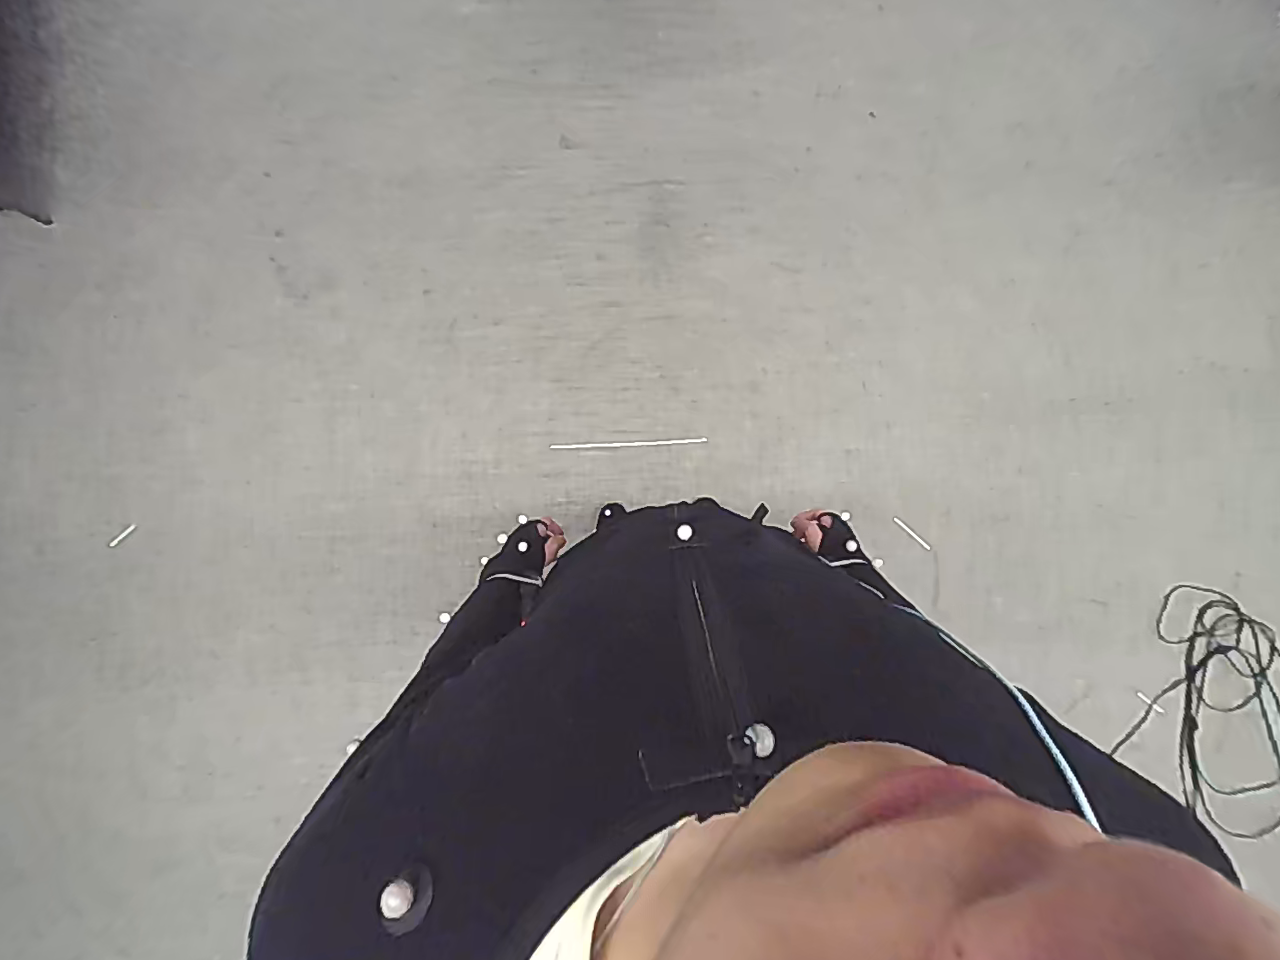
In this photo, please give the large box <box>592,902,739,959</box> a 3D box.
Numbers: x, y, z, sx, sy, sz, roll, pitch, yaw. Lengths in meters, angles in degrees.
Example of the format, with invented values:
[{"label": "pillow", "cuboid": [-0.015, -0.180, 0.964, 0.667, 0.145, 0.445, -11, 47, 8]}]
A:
[{"label": "large box", "cuboid": [0.089, 1.432, 1.453, 0.408, 0.320, 0.320, -11, 87, 0]}]
